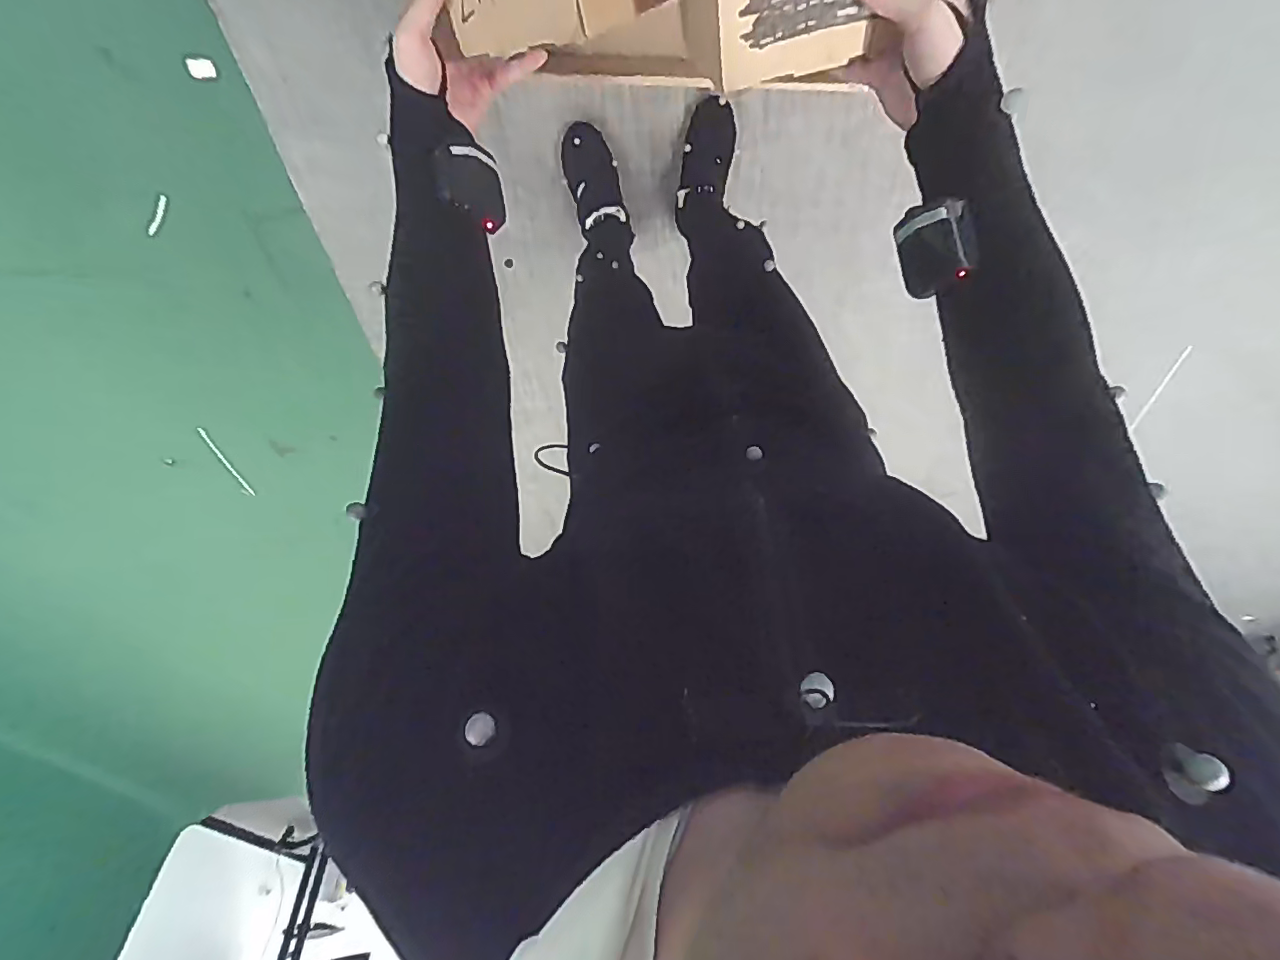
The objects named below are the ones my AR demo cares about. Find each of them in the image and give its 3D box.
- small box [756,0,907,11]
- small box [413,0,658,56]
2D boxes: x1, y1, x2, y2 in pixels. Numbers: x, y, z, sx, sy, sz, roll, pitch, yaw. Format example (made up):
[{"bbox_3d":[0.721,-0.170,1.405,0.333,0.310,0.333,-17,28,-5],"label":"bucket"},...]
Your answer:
[{"bbox_3d":[0.201,-0.619,0.570,0.168,0.176,0.179,-1,133,-5],"label":"small box"},{"bbox_3d":[-0.087,-0.469,0.425,0.168,0.176,0.179,16,143,27],"label":"small box"}]
